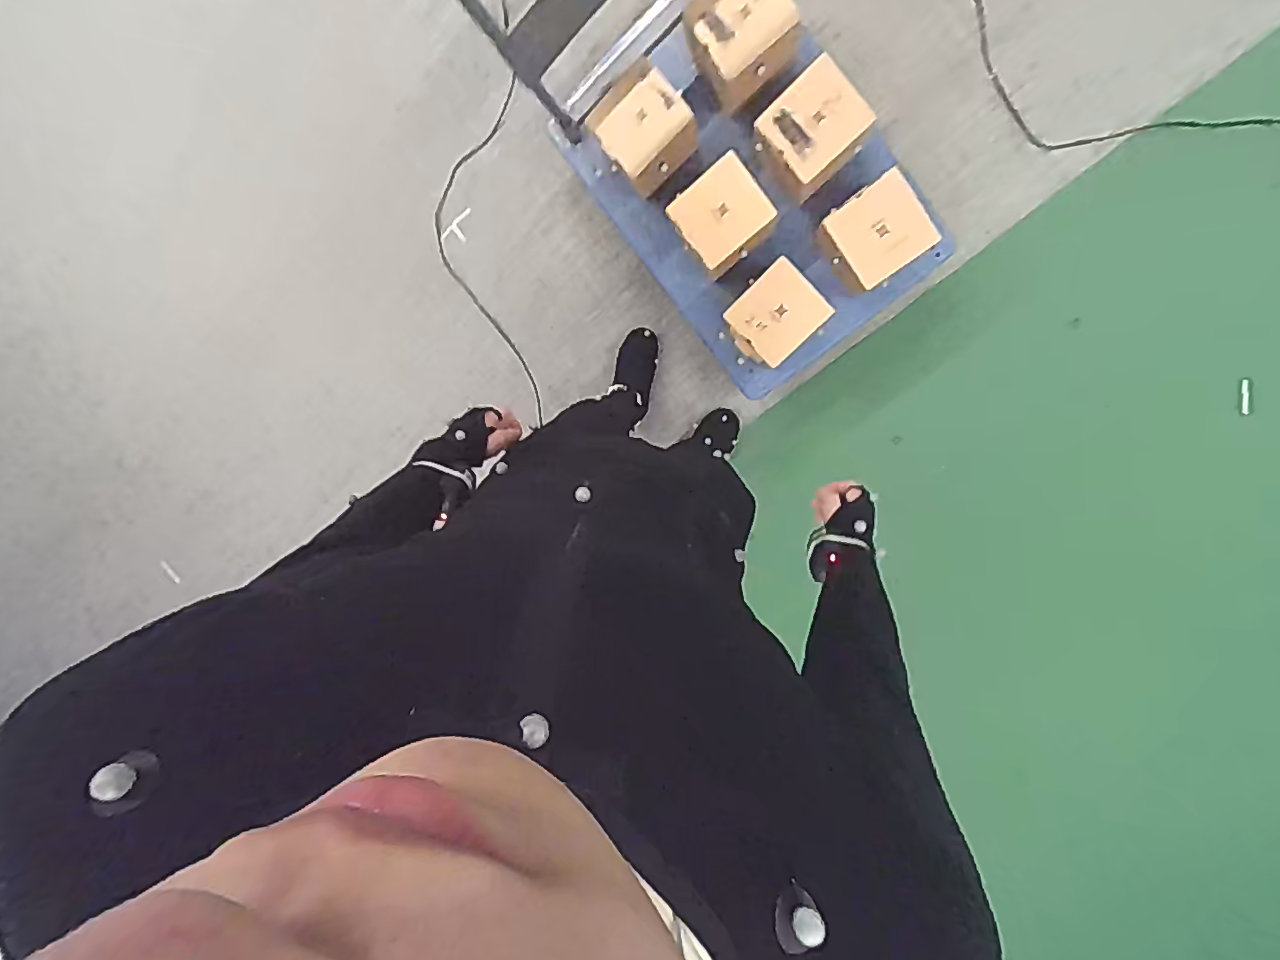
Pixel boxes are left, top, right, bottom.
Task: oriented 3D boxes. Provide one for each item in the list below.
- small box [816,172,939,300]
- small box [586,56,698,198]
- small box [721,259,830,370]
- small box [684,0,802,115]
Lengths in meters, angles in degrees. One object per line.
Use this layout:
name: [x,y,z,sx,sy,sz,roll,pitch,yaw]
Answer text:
small box: [0.500,-0.515,1.171,0.168,0.176,0.179,-33,94,16]
small box: [0.013,-0.770,1.205,0.179,0.176,0.168,-39,93,16]
small box: [0.304,-0.369,1.235,0.179,0.176,0.168,-36,91,17]
small box: [0.216,-0.921,1.135,0.179,0.176,0.168,-34,95,15]
